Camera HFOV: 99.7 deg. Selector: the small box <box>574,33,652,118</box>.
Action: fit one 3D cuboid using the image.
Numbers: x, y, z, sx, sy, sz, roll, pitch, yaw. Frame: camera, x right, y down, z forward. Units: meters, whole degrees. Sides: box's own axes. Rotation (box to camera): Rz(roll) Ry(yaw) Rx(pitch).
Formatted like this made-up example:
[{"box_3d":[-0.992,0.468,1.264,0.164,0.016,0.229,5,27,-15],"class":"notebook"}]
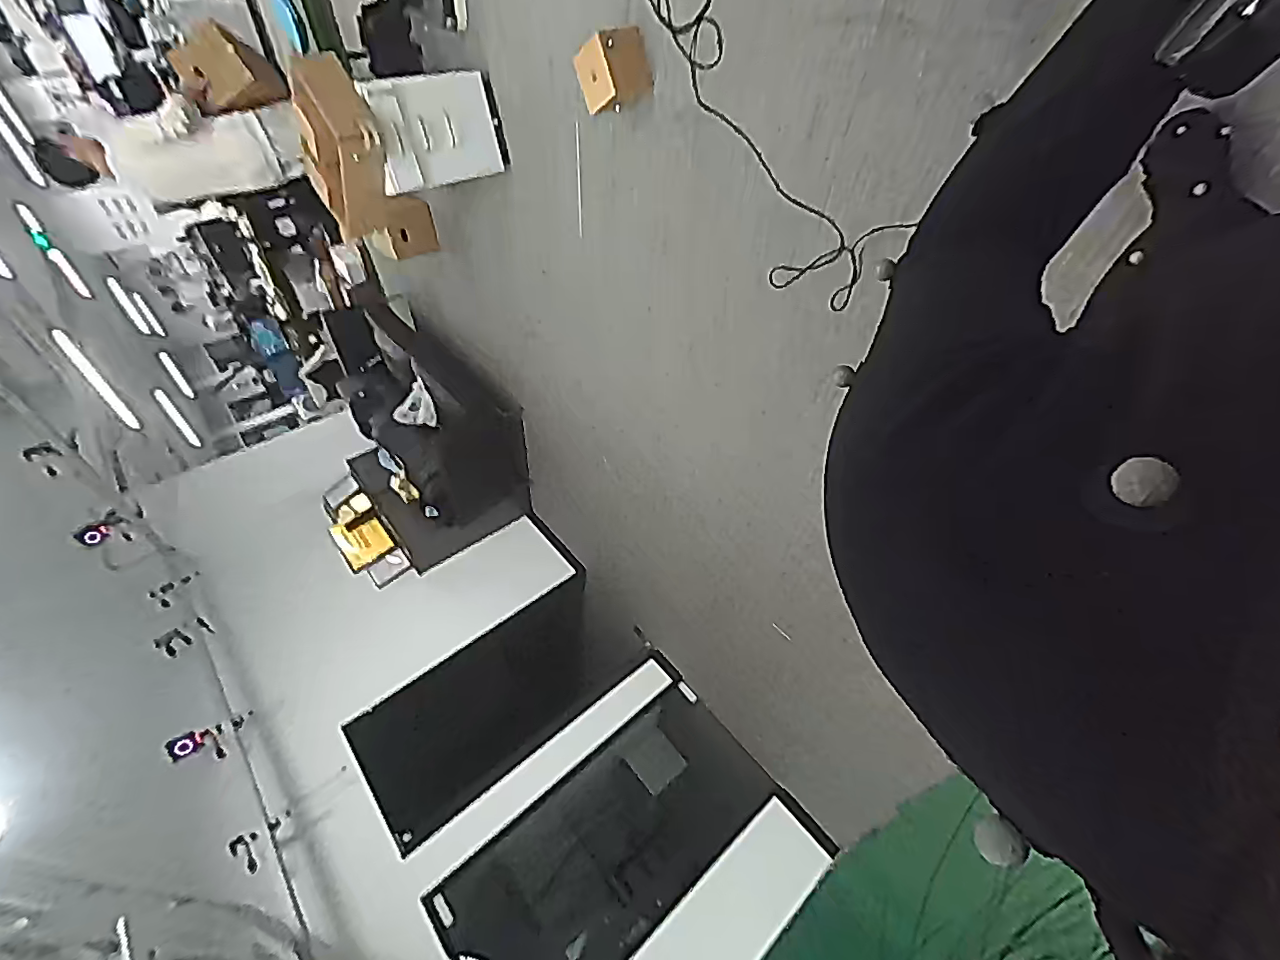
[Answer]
[{"box_3d":[-0.086,-1.343,1.796,0.168,0.176,0.179,9,124,55],"class":"small box"}]
